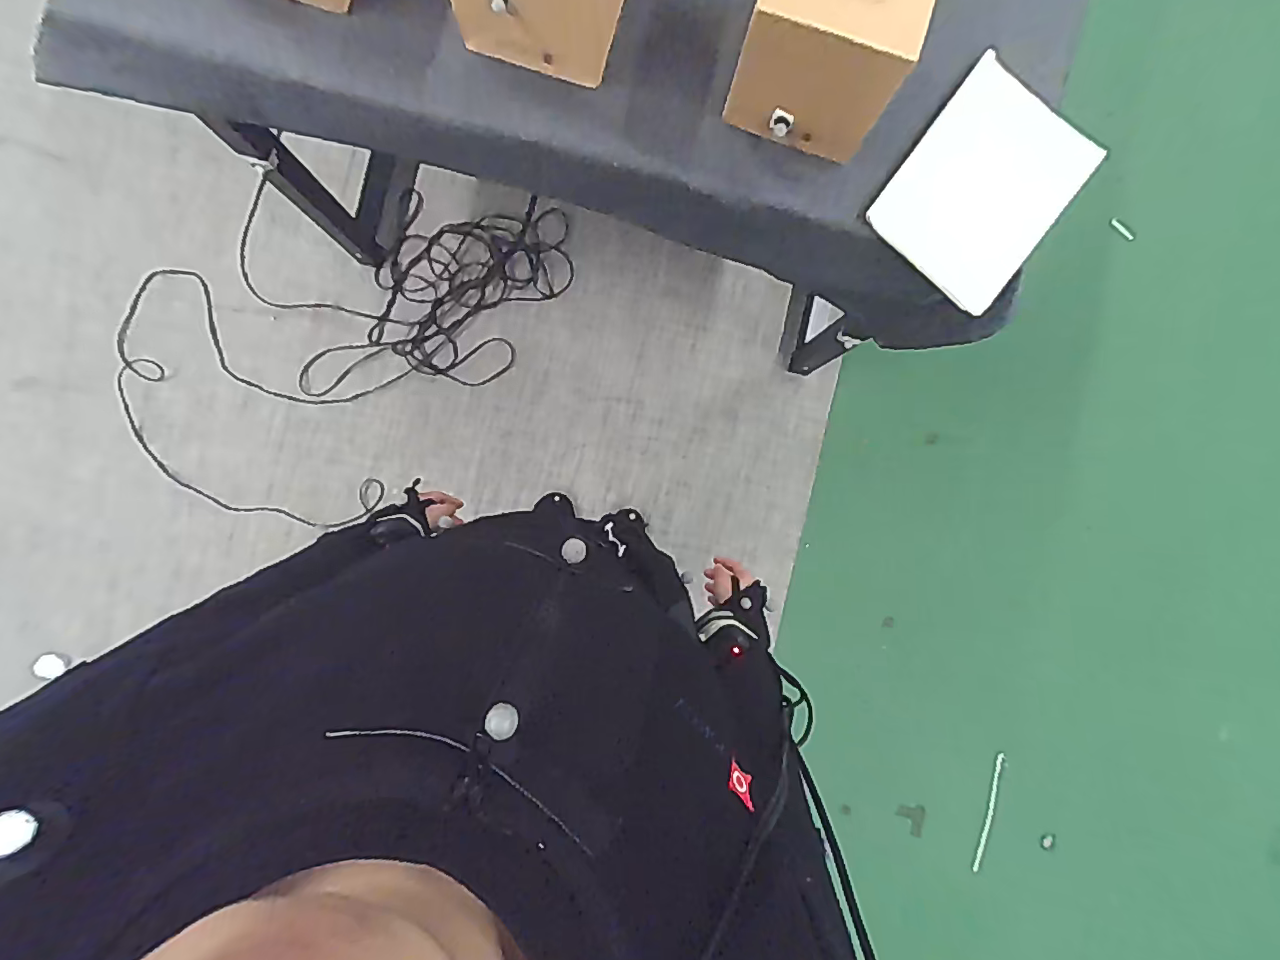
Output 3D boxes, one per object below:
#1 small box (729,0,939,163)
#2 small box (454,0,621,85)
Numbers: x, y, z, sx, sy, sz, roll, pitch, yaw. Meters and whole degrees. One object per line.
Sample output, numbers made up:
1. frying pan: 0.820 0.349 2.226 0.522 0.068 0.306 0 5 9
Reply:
1. small box: 0.207 -0.496 0.590 0.168 0.176 0.179 16 89 -2
2. small box: -0.104 -0.574 0.572 0.168 0.176 0.179 15 87 -3
